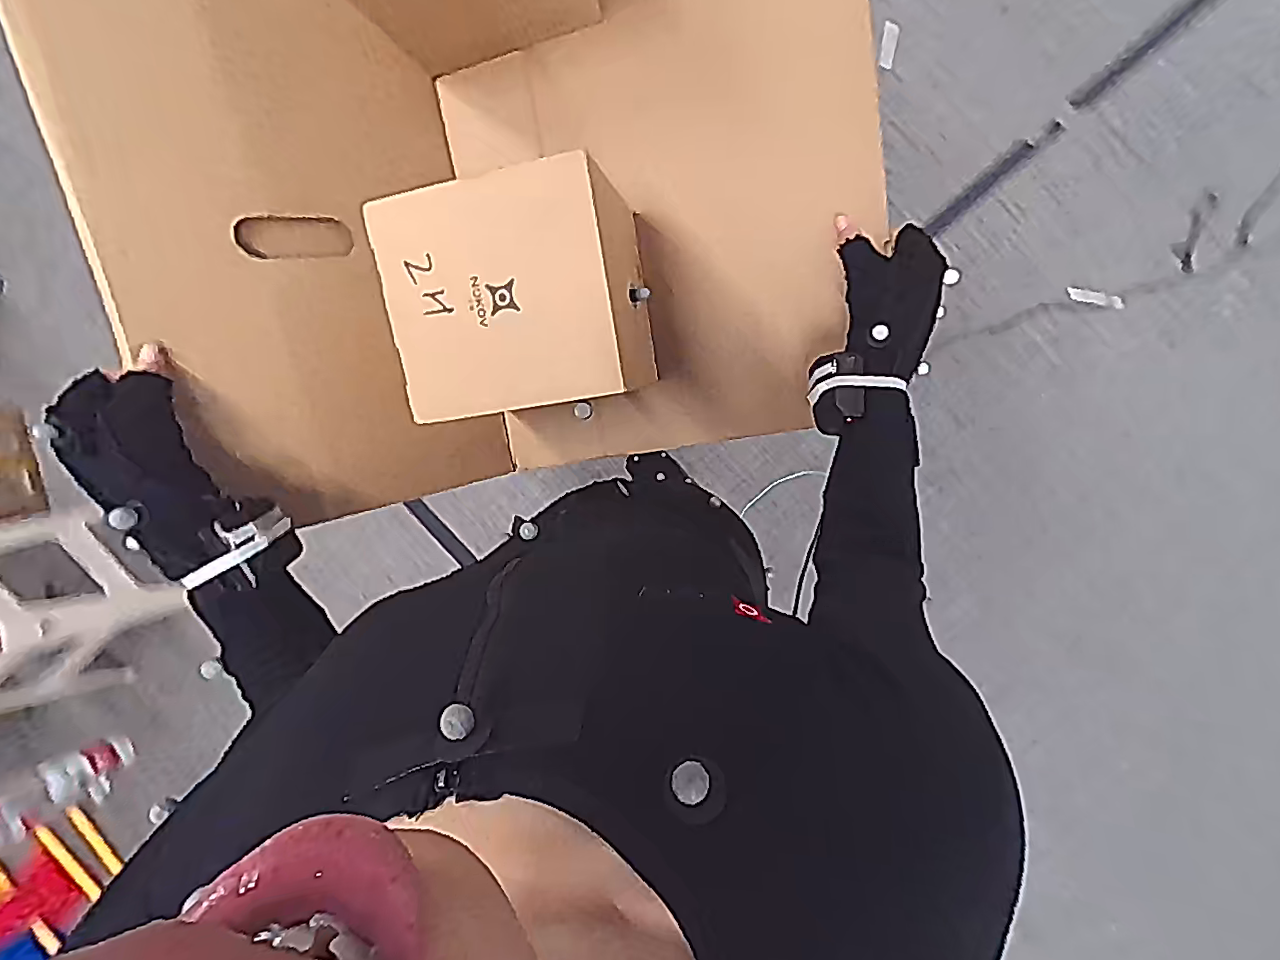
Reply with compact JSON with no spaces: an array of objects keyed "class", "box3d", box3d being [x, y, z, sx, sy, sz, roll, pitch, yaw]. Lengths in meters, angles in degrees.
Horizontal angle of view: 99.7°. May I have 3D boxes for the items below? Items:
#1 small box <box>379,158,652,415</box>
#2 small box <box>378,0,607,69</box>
[{"class":"small box","box3d":[-0.089,-0.156,0.482,0.179,0.176,0.168,-5,101,12]},{"class":"small box","box3d":[-0.139,-0.467,0.420,0.179,0.176,0.168,-8,101,12]}]
